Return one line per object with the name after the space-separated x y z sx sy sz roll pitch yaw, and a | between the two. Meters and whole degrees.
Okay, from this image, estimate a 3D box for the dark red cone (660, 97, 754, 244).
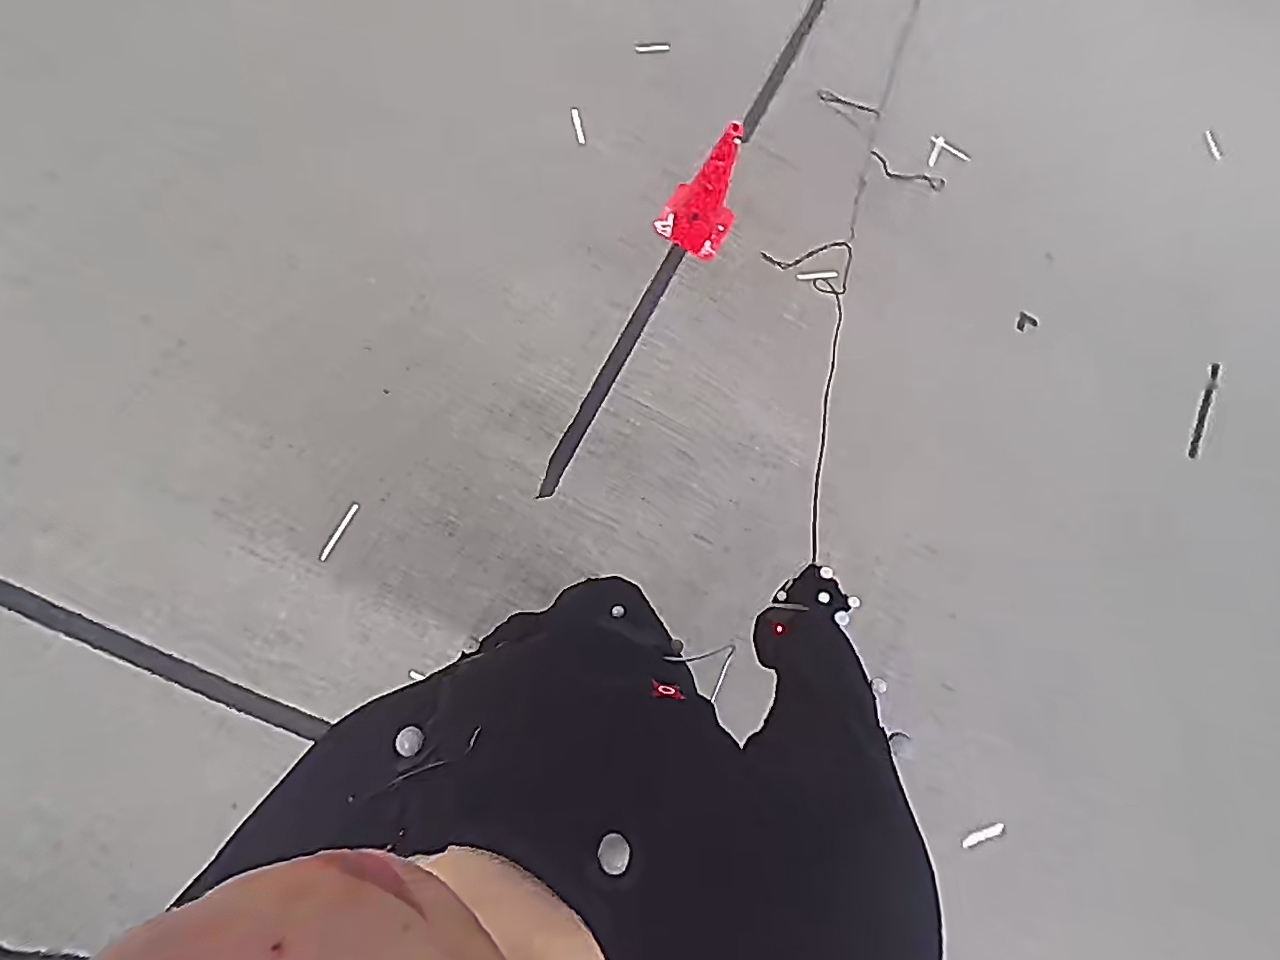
0.208 -0.842 1.445 0.201 0.394 0.202 27 77 -6 | dark red cone
